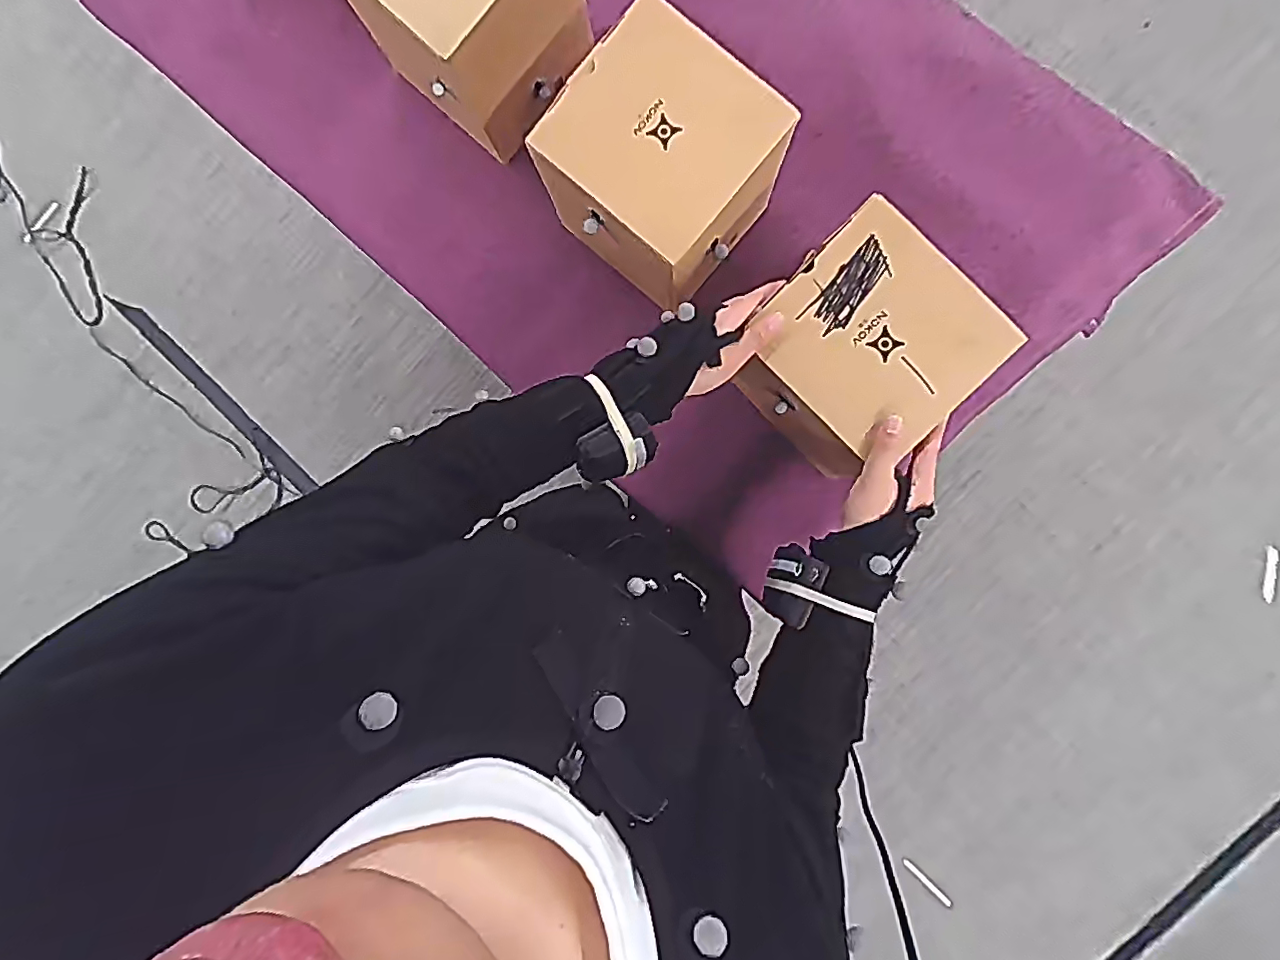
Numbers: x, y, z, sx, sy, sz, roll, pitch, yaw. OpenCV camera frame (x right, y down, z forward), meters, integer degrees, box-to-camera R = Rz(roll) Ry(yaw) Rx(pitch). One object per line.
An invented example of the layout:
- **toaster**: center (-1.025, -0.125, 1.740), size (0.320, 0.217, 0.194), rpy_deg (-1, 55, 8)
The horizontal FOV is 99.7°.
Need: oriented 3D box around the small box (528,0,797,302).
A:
- **small box**: center (0.023, -0.303, 0.544), size (0.179, 0.176, 0.168), rpy_deg (41, 94, 2)
